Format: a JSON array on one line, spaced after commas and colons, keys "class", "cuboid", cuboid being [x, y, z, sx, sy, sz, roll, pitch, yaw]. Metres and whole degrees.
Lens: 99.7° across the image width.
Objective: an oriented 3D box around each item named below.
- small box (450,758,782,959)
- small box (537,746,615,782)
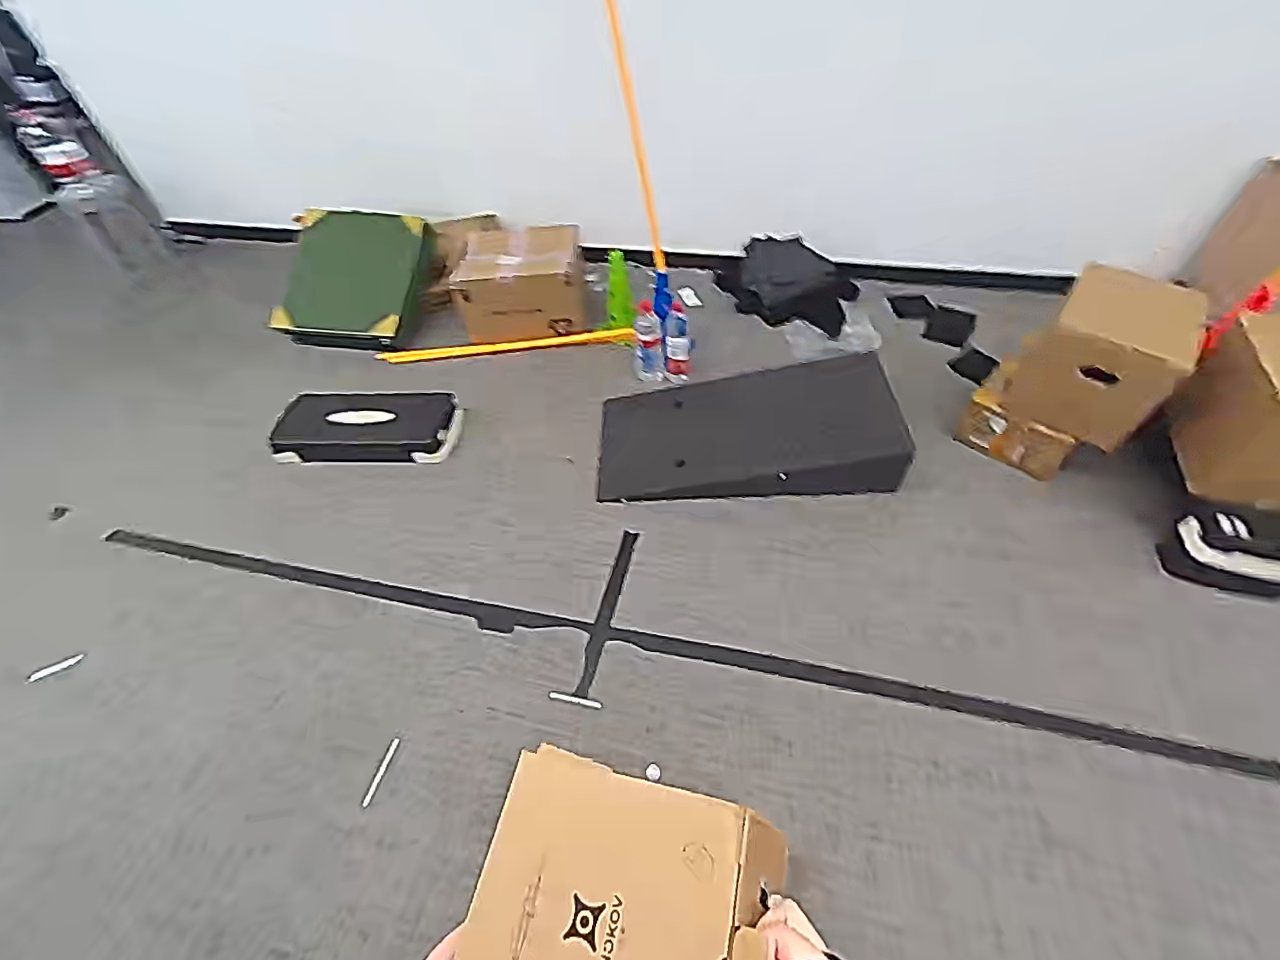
[{"class": "small box", "cuboid": [-0.004, 0.314, 0.376, 0.179, 0.176, 0.168, -1, 53, 25]}, {"class": "small box", "cuboid": [-0.156, 0.709, 1.173, 0.179, 0.176, 0.168, 15, 53, 14]}]
